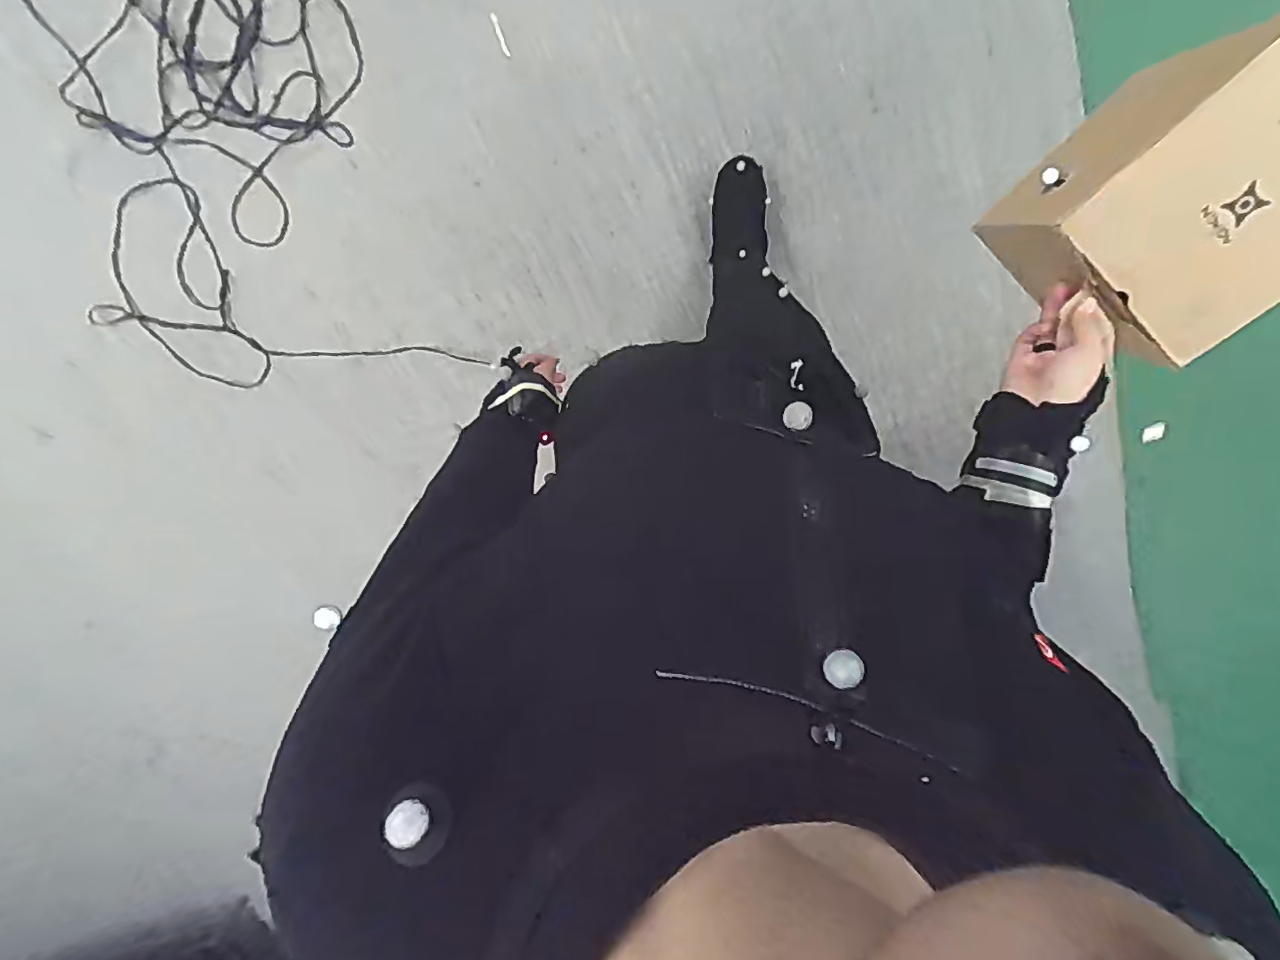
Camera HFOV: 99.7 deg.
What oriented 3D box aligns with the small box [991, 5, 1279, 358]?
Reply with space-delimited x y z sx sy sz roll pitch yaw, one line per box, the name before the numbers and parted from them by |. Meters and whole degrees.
small box | 0.444 -0.236 0.463 0.168 0.176 0.179 40 113 -10
